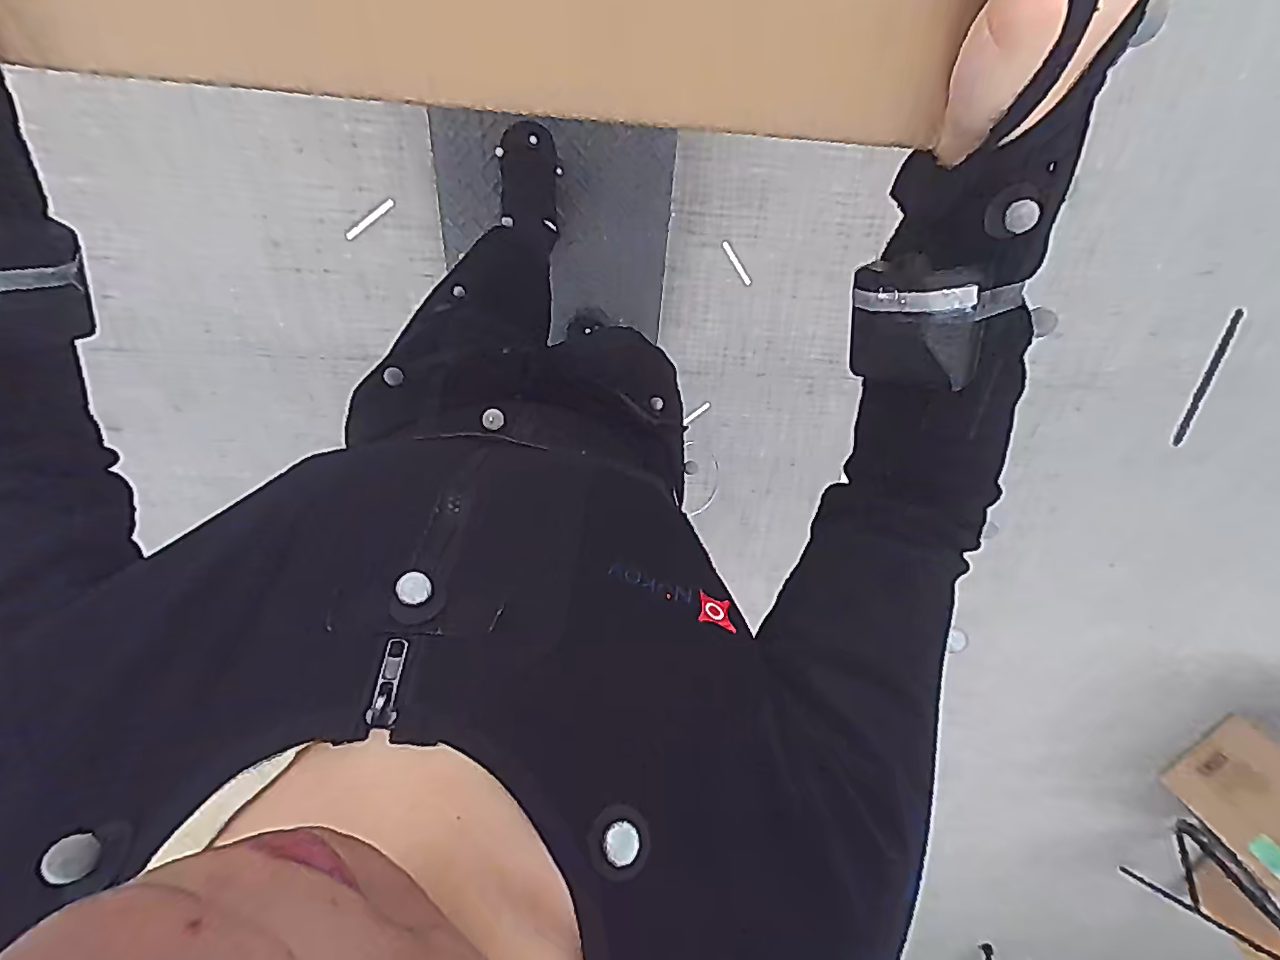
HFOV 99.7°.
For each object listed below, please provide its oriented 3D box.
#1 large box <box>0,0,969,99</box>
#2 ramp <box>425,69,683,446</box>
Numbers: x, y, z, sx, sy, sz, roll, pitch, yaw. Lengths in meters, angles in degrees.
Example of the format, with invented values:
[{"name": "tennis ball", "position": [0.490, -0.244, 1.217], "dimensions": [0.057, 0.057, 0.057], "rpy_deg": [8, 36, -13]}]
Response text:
[{"name": "large box", "position": [-0.060, -0.390, 0.236], "dimensions": [0.408, 0.320, 0.320], "rpy_deg": [2, 134, -4]}, {"name": "ramp", "position": [-0.180, -0.508, 1.206], "dimensions": [0.509, 0.206, 0.991], "rpy_deg": [0, 116, -5]}]
